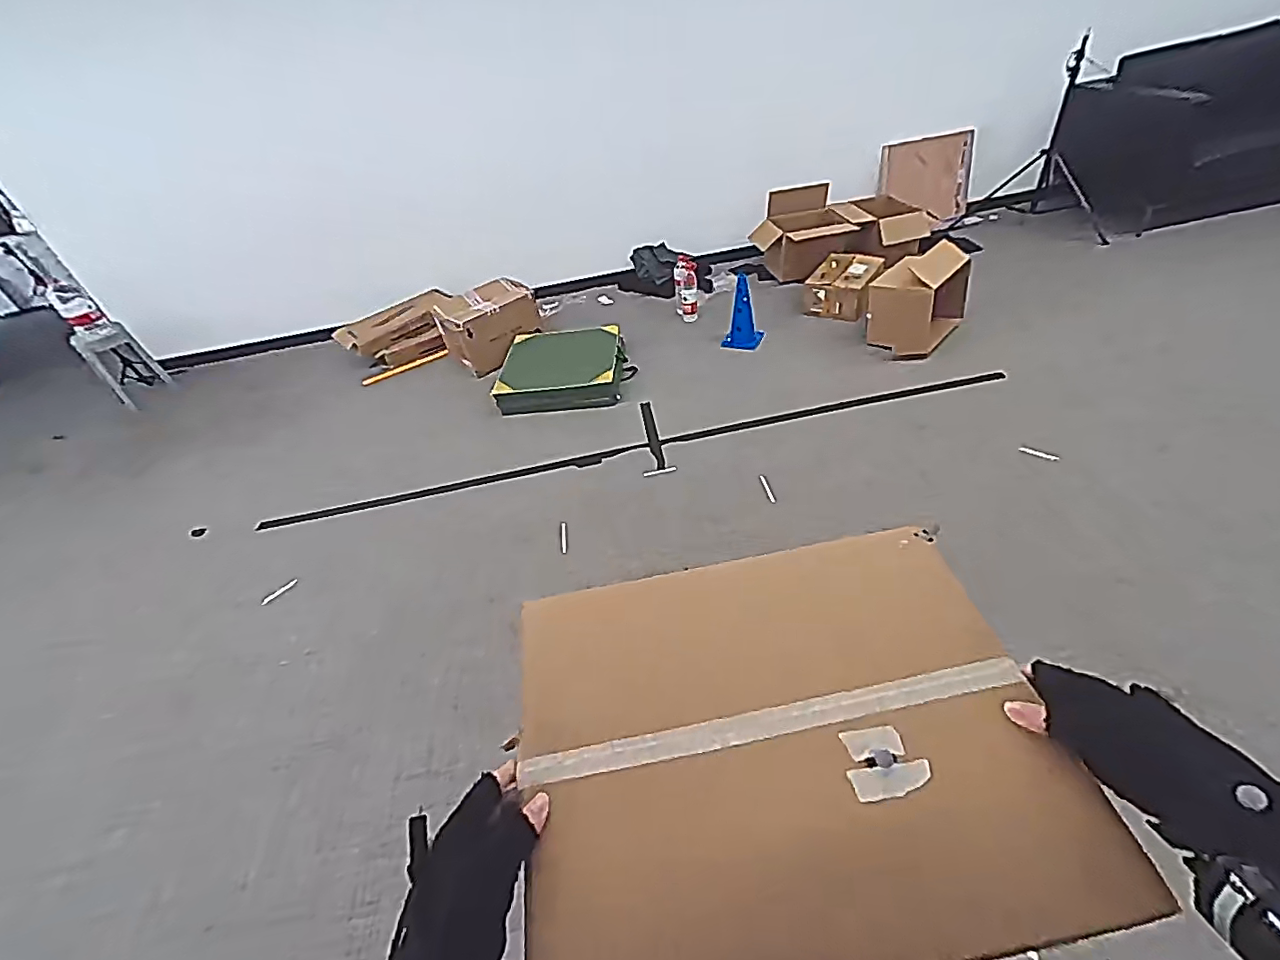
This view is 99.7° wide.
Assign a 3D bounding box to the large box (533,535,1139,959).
[{"bbox_3d":[0.126,0.305,0.553,0.408,0.320,0.320,-11,46,-2],"label":"large box"}]
